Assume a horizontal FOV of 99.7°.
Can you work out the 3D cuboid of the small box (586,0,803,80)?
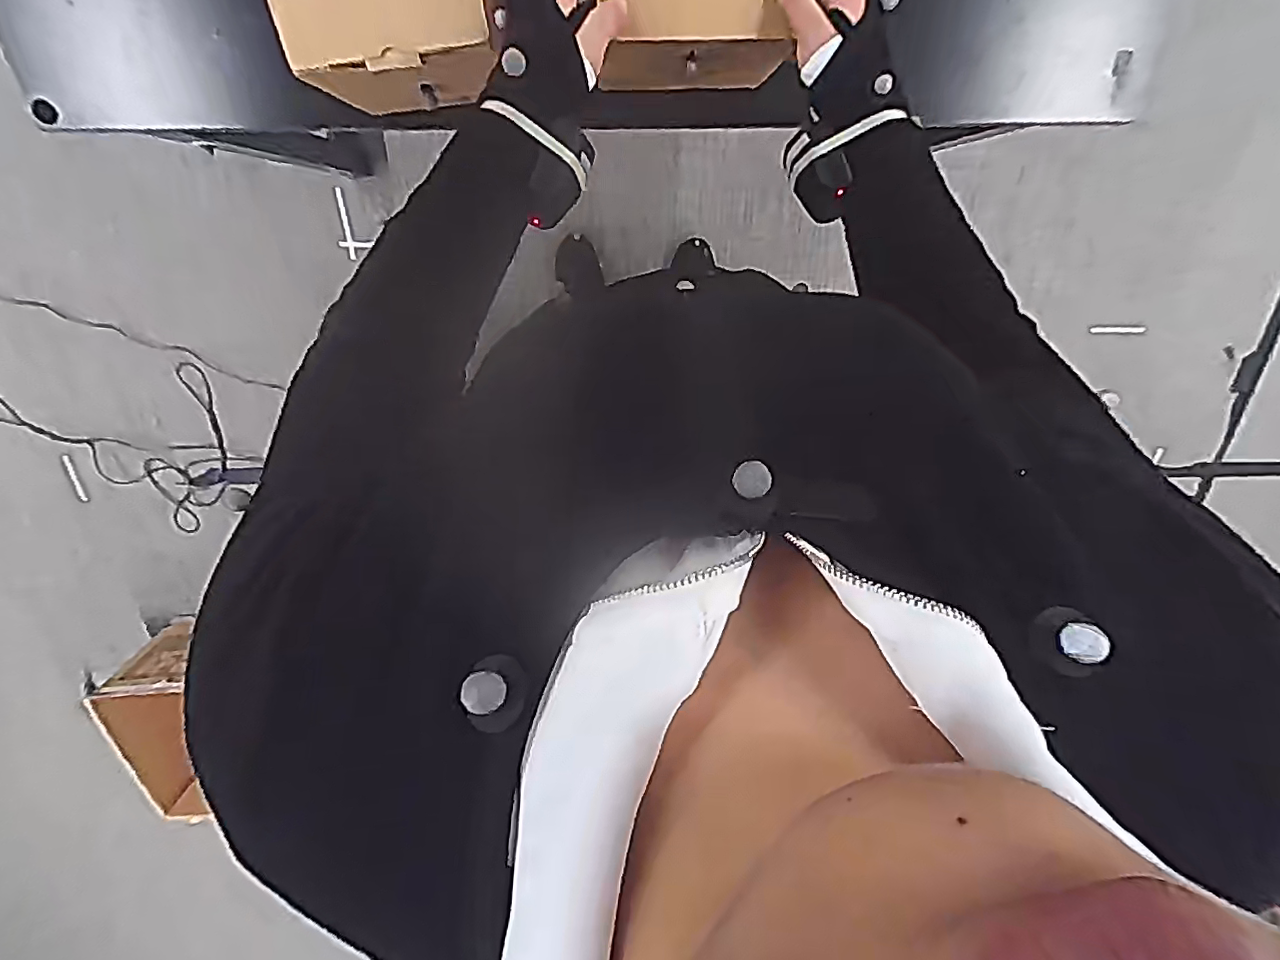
[{"bbox_3d":[0.039,-0.472,0.477,0.179,0.176,0.168,-3,115,-2],"label":"small box"}]

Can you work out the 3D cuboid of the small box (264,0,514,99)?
[{"bbox_3d":[-0.217,-0.453,0.471,0.168,0.176,0.179,-7,115,1],"label":"small box"}]
